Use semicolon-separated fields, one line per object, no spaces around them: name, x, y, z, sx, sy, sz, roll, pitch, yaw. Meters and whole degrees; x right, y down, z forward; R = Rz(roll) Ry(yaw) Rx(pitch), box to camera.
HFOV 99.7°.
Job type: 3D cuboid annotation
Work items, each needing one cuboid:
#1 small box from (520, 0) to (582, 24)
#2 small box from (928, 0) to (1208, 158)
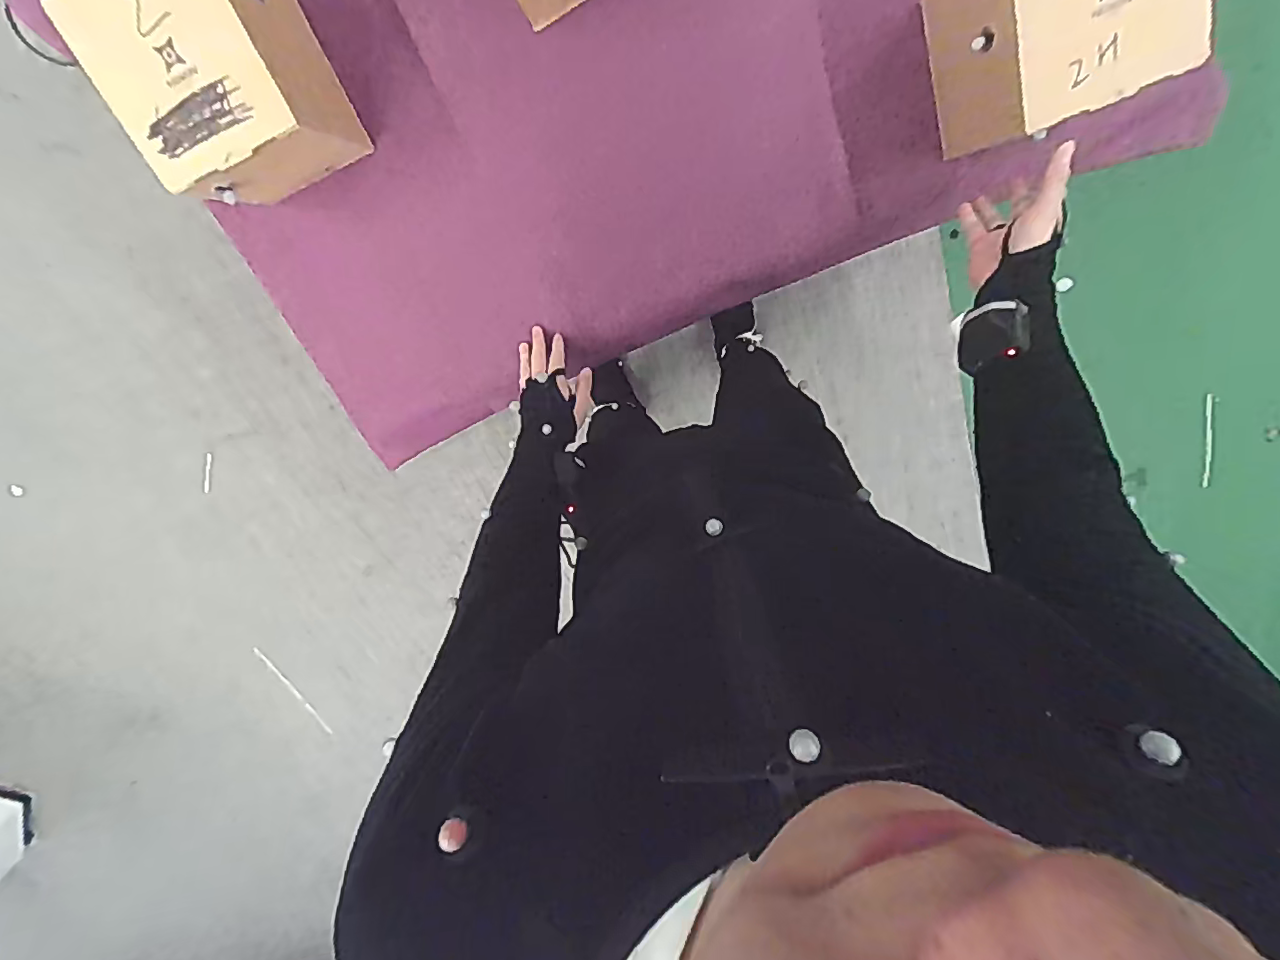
small box;-0.089;-0.595;0.513;0.168;0.176;0.179;-25;113;11
small box;0.427;-0.469;0.564;0.168;0.176;0.179;-18;112;10
